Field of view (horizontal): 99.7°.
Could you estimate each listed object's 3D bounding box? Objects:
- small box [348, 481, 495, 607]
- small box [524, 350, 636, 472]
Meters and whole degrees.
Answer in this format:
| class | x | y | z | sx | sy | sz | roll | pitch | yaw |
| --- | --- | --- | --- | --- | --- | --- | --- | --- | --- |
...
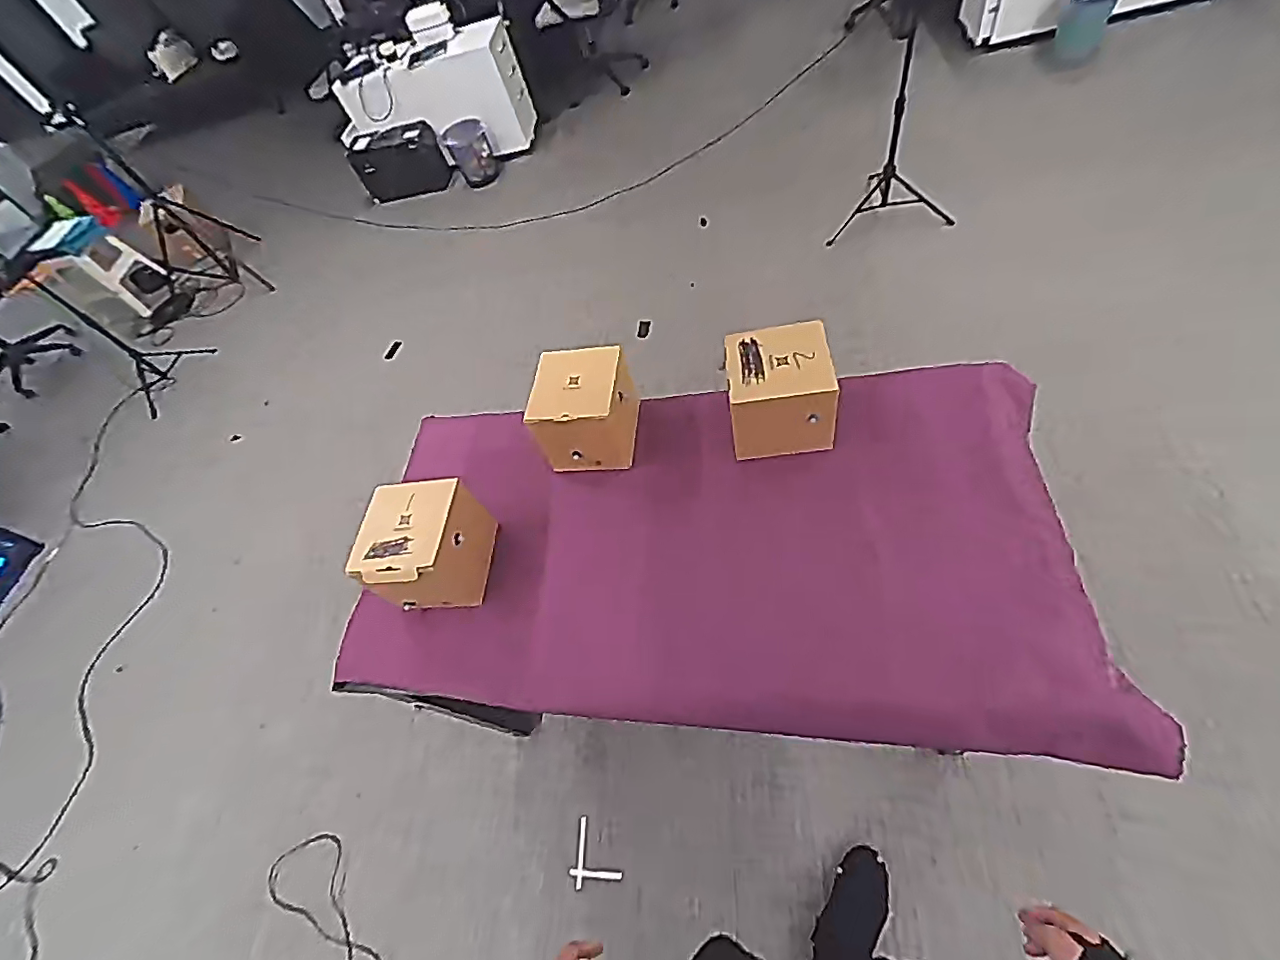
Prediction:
| class | x | y | z | sx | sy | sz | roll | pitch | yaw |
| --- | --- | --- | --- | --- | --- | --- | --- | --- | --- |
| small box | -0.384 | 0.125 | 0.987 | 0.168 | 0.176 | 0.179 | -5 | 55 | 12 |
| small box | -0.108 | -0.133 | 1.075 | 0.168 | 0.176 | 0.179 | -2 | 58 | 14 |
